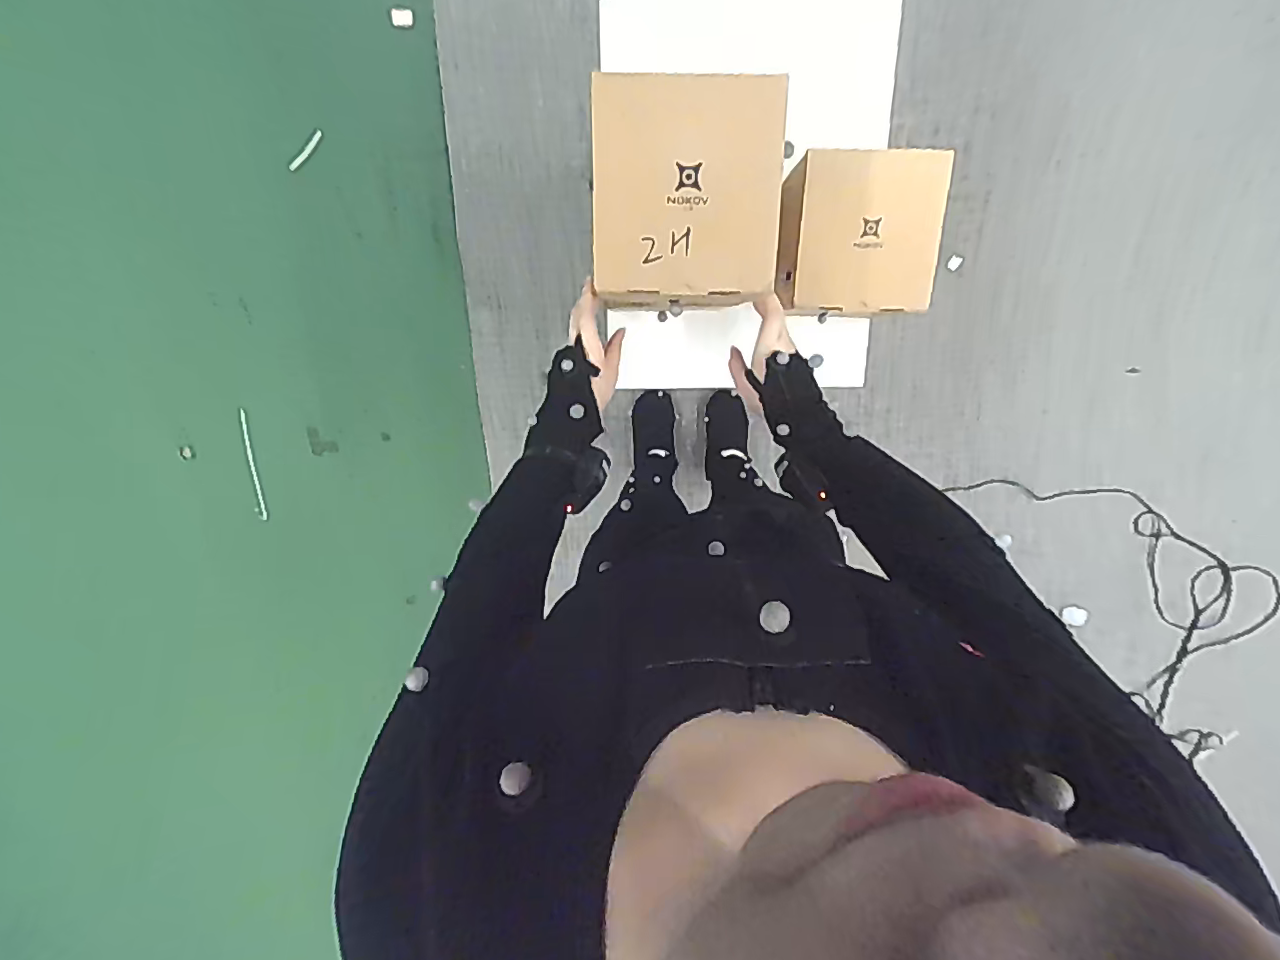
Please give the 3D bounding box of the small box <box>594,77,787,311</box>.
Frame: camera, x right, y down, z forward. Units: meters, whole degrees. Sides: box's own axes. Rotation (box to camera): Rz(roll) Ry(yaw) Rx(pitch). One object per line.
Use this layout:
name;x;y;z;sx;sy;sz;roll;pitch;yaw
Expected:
small box;0.042;-0.271;0.550;0.168;0.176;0.179;1;105;1

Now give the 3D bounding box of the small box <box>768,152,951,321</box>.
small box;0.270;-0.304;0.708;0.168;0.176;0.179;2;105;2
